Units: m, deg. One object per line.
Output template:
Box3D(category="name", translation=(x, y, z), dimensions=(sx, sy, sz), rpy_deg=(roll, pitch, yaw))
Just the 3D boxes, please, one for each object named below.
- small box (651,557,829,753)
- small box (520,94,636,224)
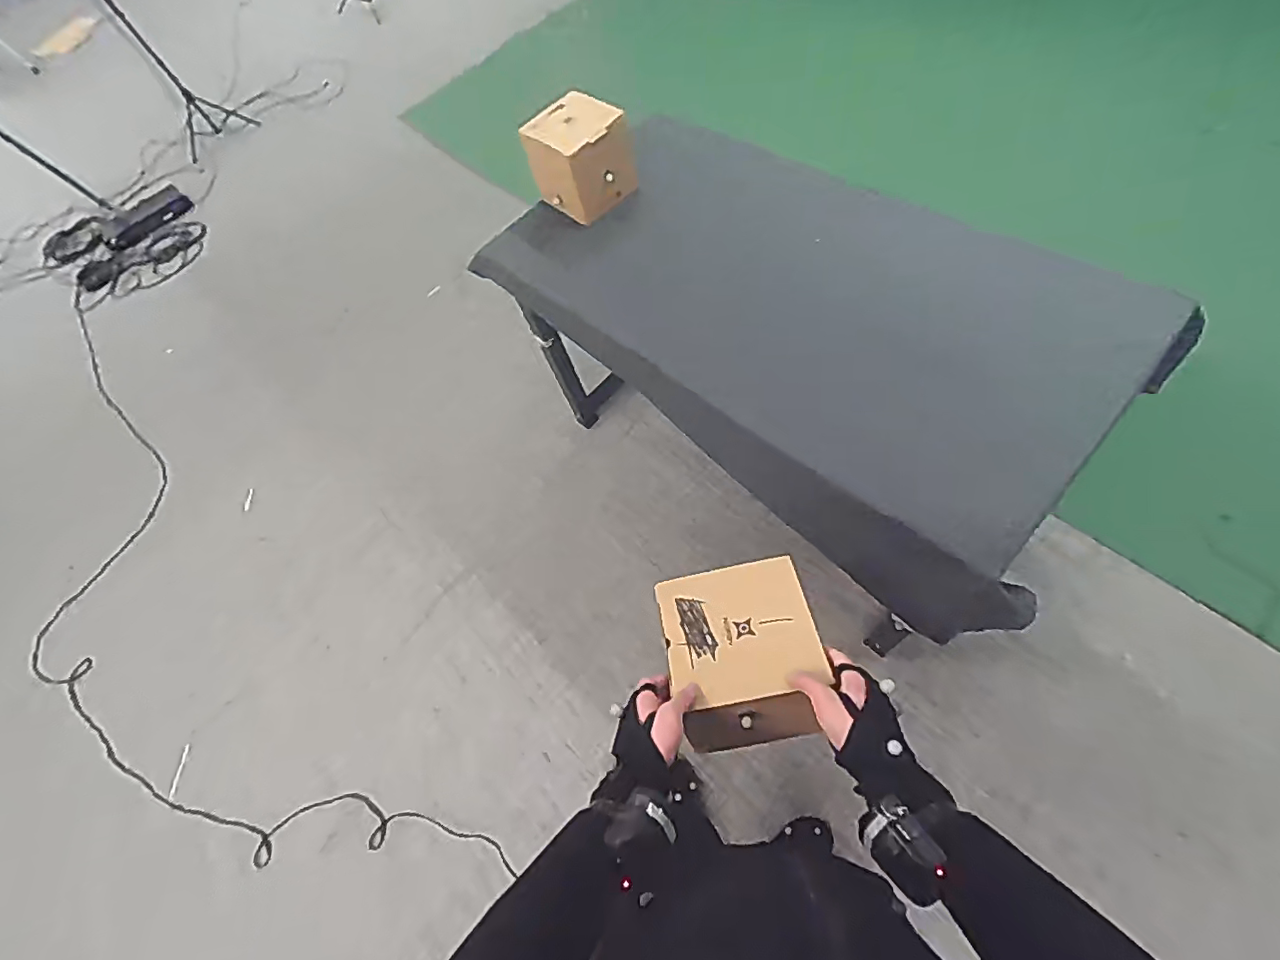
Box3D(category="small box", translation=(0.123, 0.225, 0.679), dimensions=(0.179, 0.176, 0.168), rpy_deg=(-13, 48, 4))
Box3D(category="small box", translation=(-0.129, -0.707, 1.205), dimensions=(0.168, 0.176, 0.179), rpy_deg=(-43, 64, -12))
